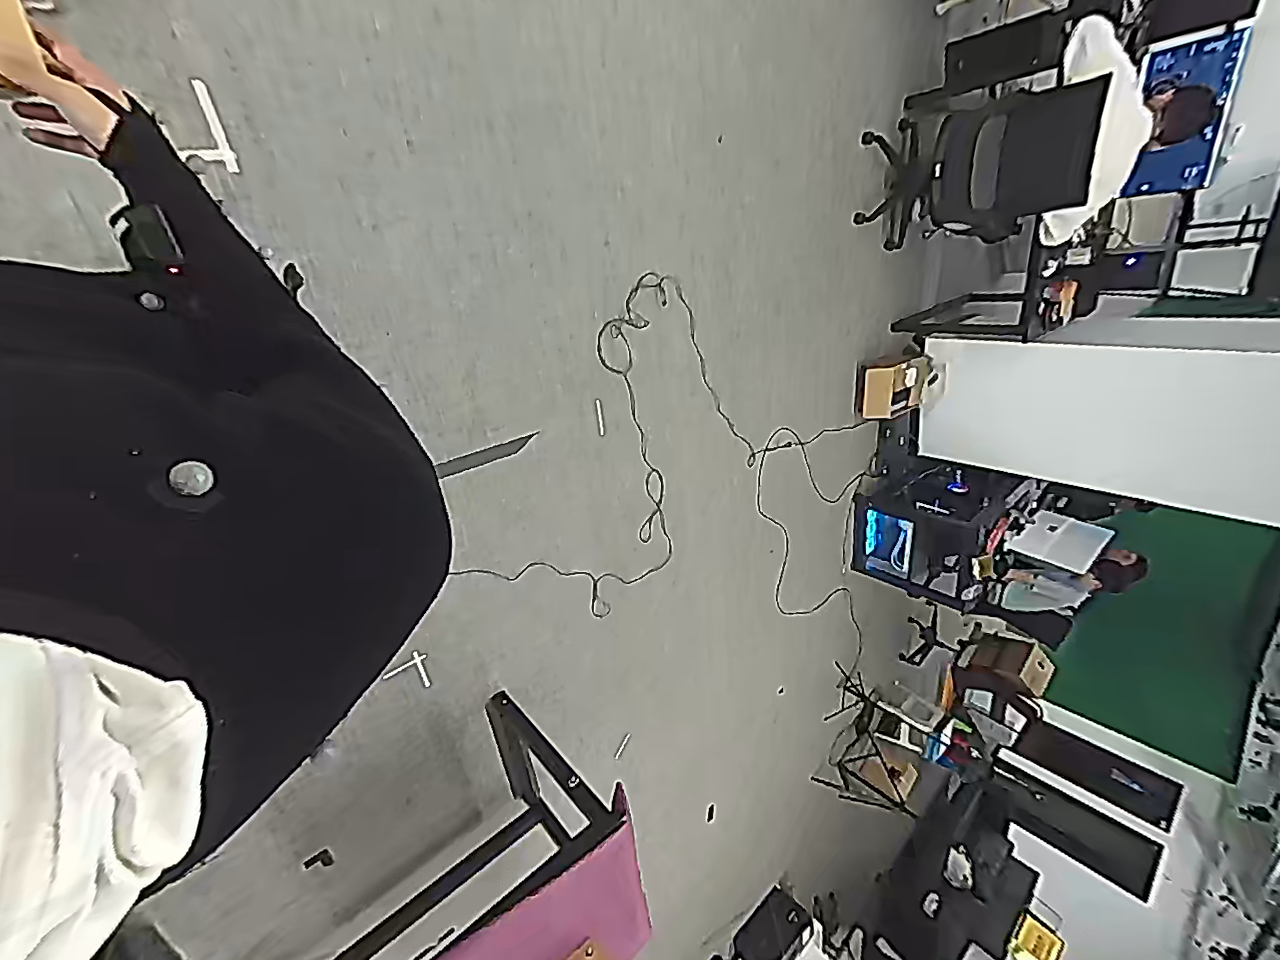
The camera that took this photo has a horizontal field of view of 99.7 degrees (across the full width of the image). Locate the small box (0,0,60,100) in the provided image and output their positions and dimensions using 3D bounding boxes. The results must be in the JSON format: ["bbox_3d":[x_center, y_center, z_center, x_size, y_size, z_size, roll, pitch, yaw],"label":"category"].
[{"bbox_3d":[-0.604,-0.401,0.405,0.168,0.176,0.179,-31,135,-44],"label":"small box"}]

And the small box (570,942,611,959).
[{"bbox_3d":[-0.136,1.423,1.471,0.168,0.176,0.179,-17,114,-36],"label":"small box"}]
